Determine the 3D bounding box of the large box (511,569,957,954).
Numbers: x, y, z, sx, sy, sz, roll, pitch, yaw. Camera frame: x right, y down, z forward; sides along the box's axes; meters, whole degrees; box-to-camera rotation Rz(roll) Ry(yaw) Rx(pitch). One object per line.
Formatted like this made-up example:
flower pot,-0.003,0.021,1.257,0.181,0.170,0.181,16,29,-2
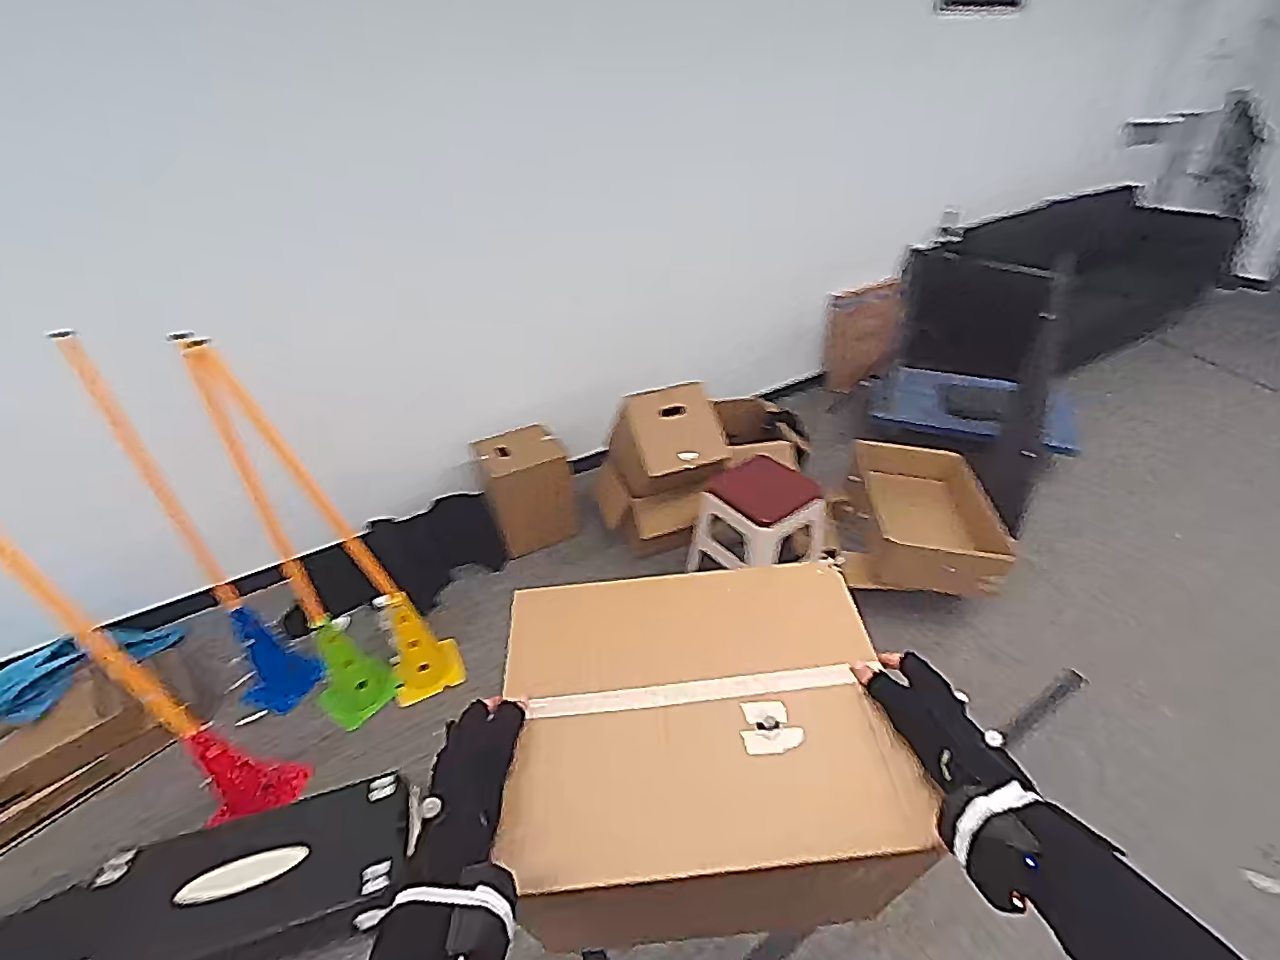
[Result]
large box,0.078,0.345,0.676,0.408,0.320,0.320,-5,42,-1
